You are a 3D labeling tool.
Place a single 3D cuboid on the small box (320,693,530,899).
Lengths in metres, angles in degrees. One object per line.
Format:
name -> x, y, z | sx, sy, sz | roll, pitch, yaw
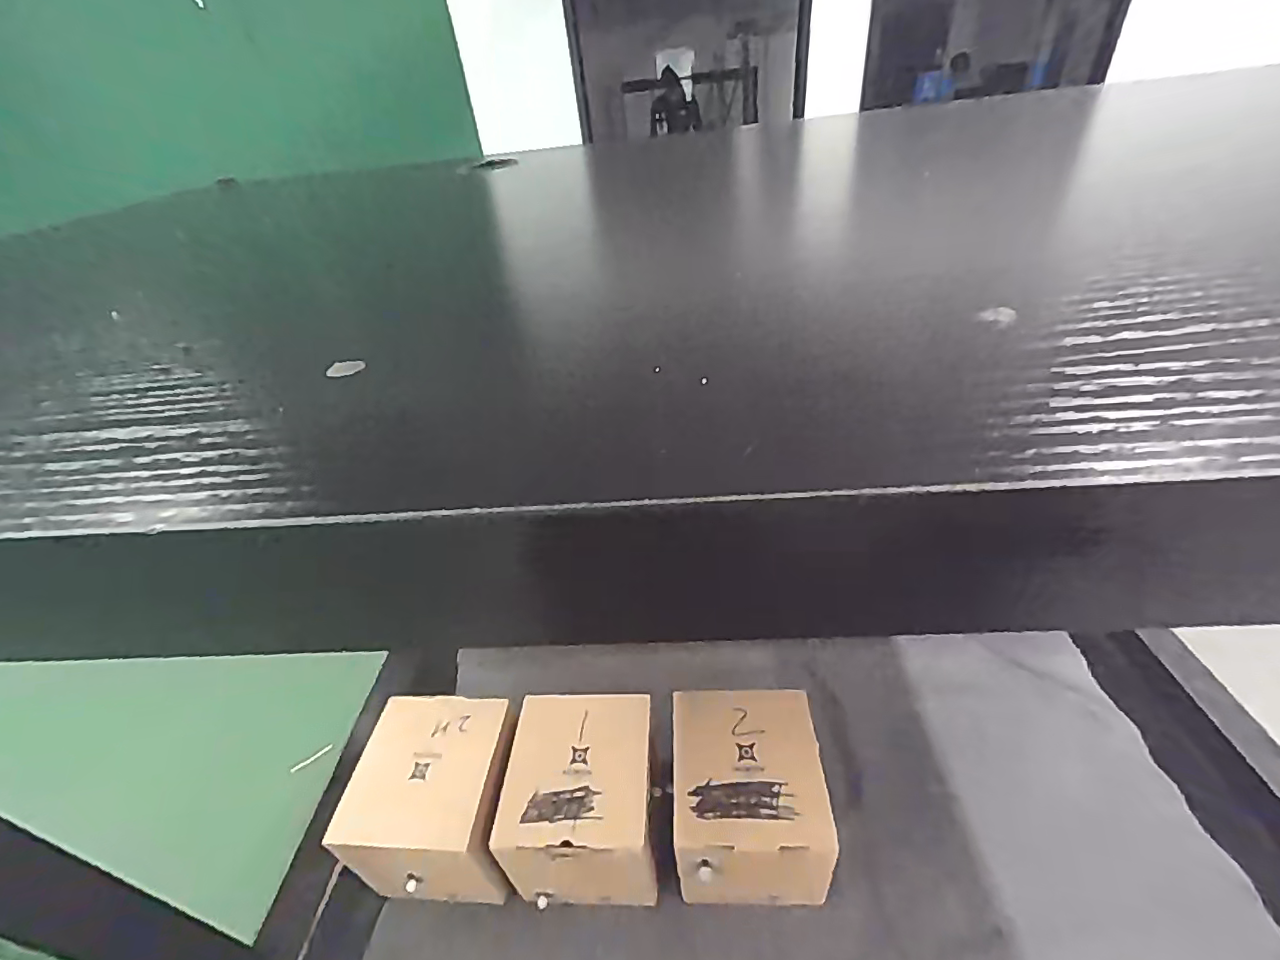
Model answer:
small box -> -0.248, 0.394, 0.679 | 0.168, 0.176, 0.179 | 0, 37, 6
